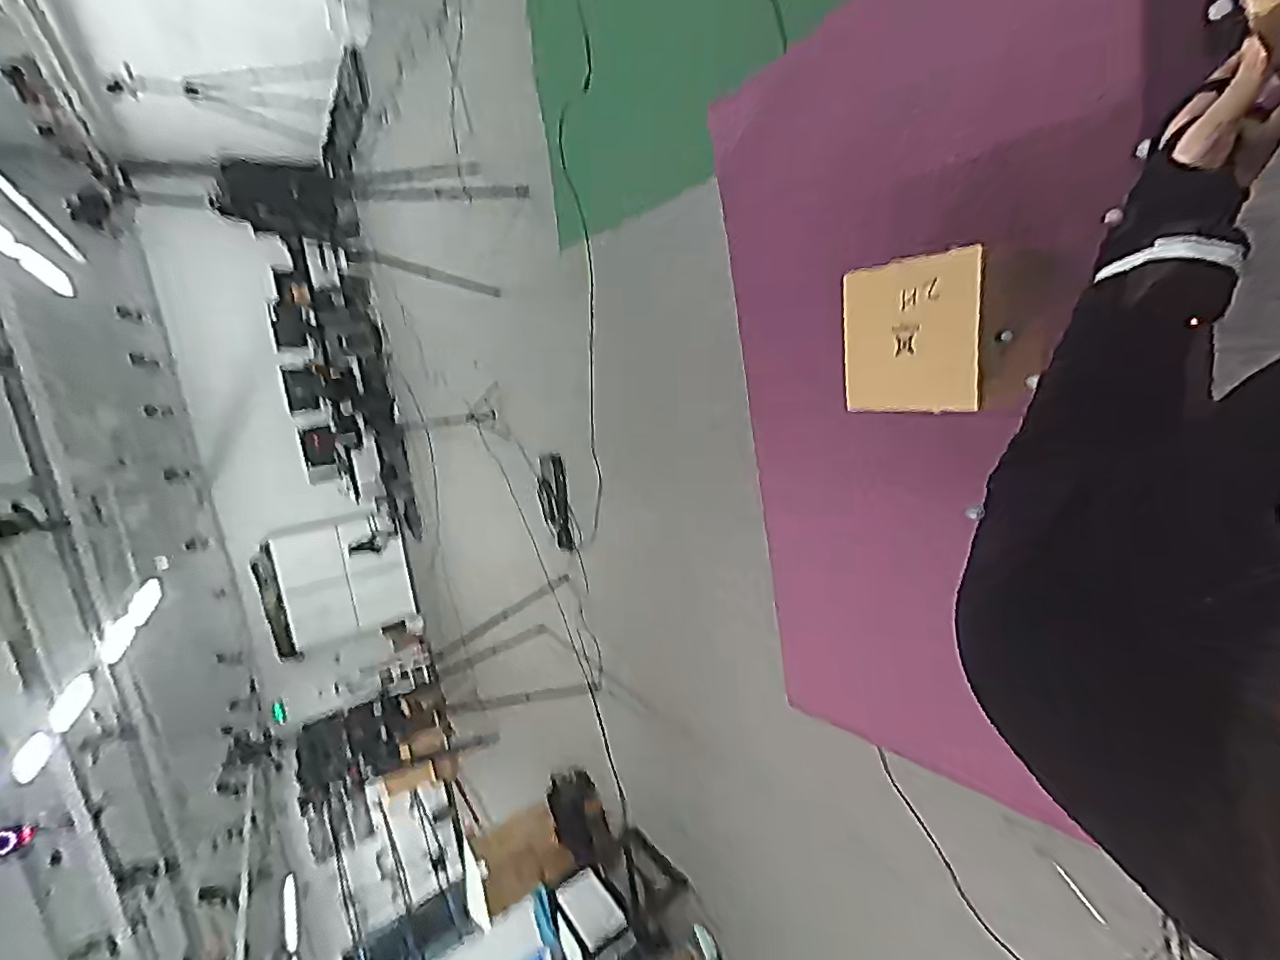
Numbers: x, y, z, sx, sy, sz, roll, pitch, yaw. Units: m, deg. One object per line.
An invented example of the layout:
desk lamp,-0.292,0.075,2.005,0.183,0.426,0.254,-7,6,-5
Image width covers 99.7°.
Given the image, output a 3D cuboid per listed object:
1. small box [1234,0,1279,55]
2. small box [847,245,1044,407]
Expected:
small box,0.432,-0.378,0.293,0.168,0.176,0.179,-20,85,55
small box,0.389,-0.194,0.695,0.168,0.176,0.179,12,112,54
